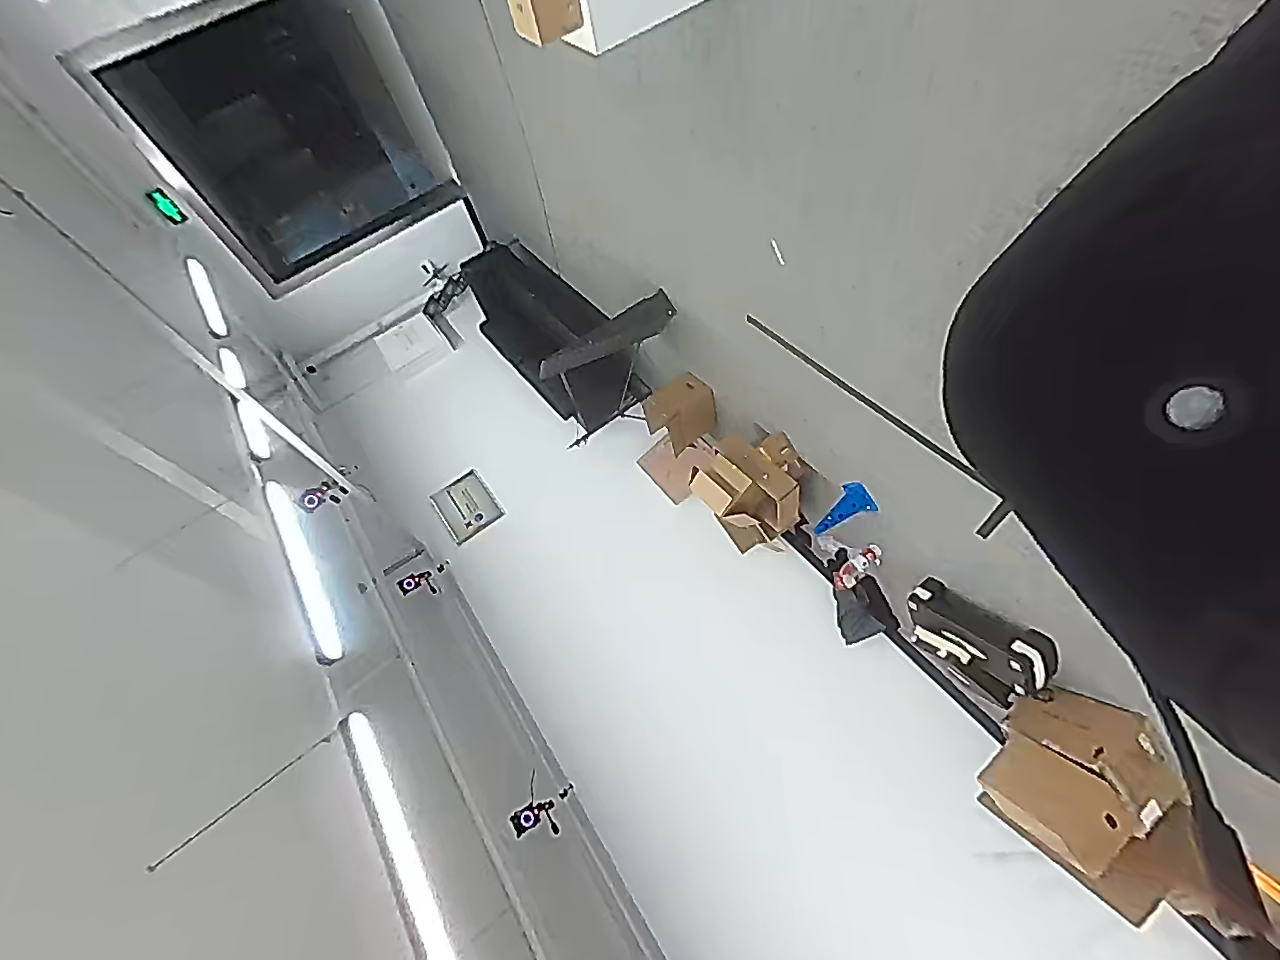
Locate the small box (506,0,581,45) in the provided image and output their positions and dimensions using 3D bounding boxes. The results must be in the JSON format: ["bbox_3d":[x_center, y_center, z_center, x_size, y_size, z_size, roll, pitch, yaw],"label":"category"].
[{"bbox_3d":[-0.307,-1.492,1.662,0.179,0.176,0.168,49,168,28],"label":"small box"}]
